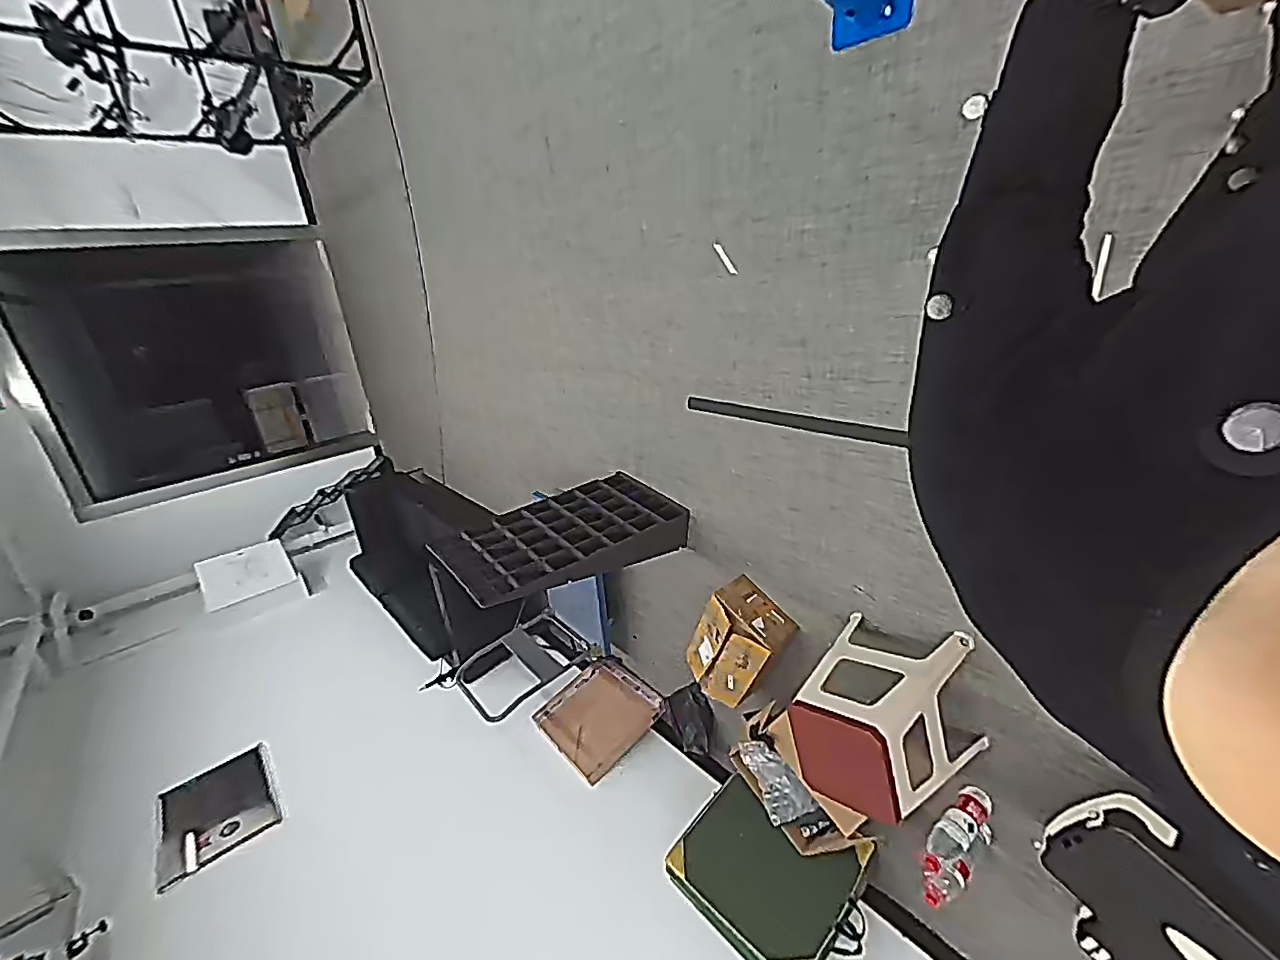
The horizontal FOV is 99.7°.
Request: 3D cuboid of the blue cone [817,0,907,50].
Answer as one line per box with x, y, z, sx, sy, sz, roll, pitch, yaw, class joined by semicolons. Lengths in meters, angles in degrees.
0.415;-1.100;1.177;0.192;0.380;0.193;24;126;46;blue cone
